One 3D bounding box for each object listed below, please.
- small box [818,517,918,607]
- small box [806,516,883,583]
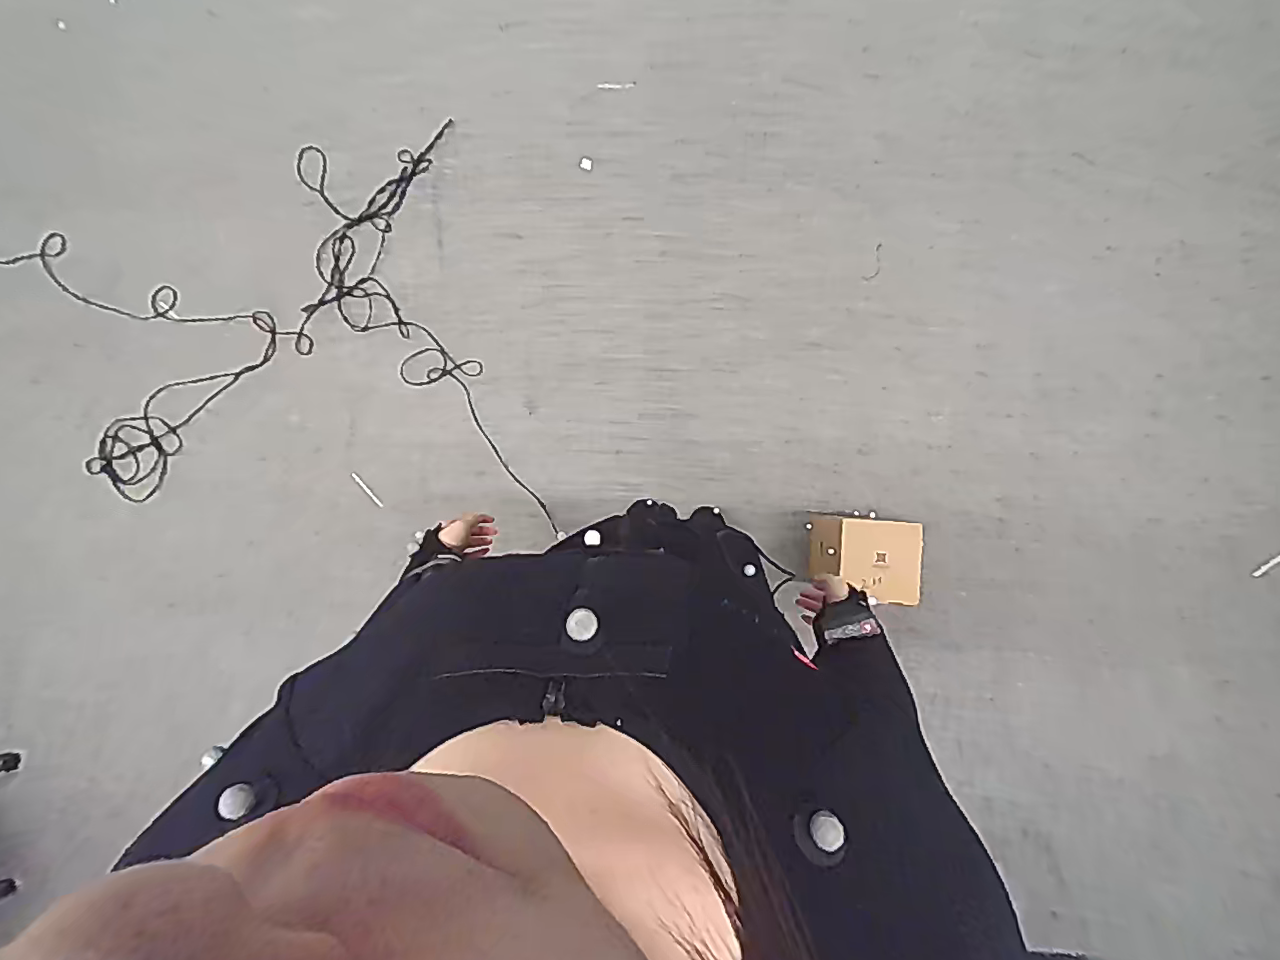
[{"bbox_3d":[0.507,0.176,1.220,0.168,0.176,0.179,4,89,6],"label":"small box"},{"bbox_3d":[0.530,0.179,1.384,0.179,0.176,0.168,3,89,5],"label":"small box"}]
